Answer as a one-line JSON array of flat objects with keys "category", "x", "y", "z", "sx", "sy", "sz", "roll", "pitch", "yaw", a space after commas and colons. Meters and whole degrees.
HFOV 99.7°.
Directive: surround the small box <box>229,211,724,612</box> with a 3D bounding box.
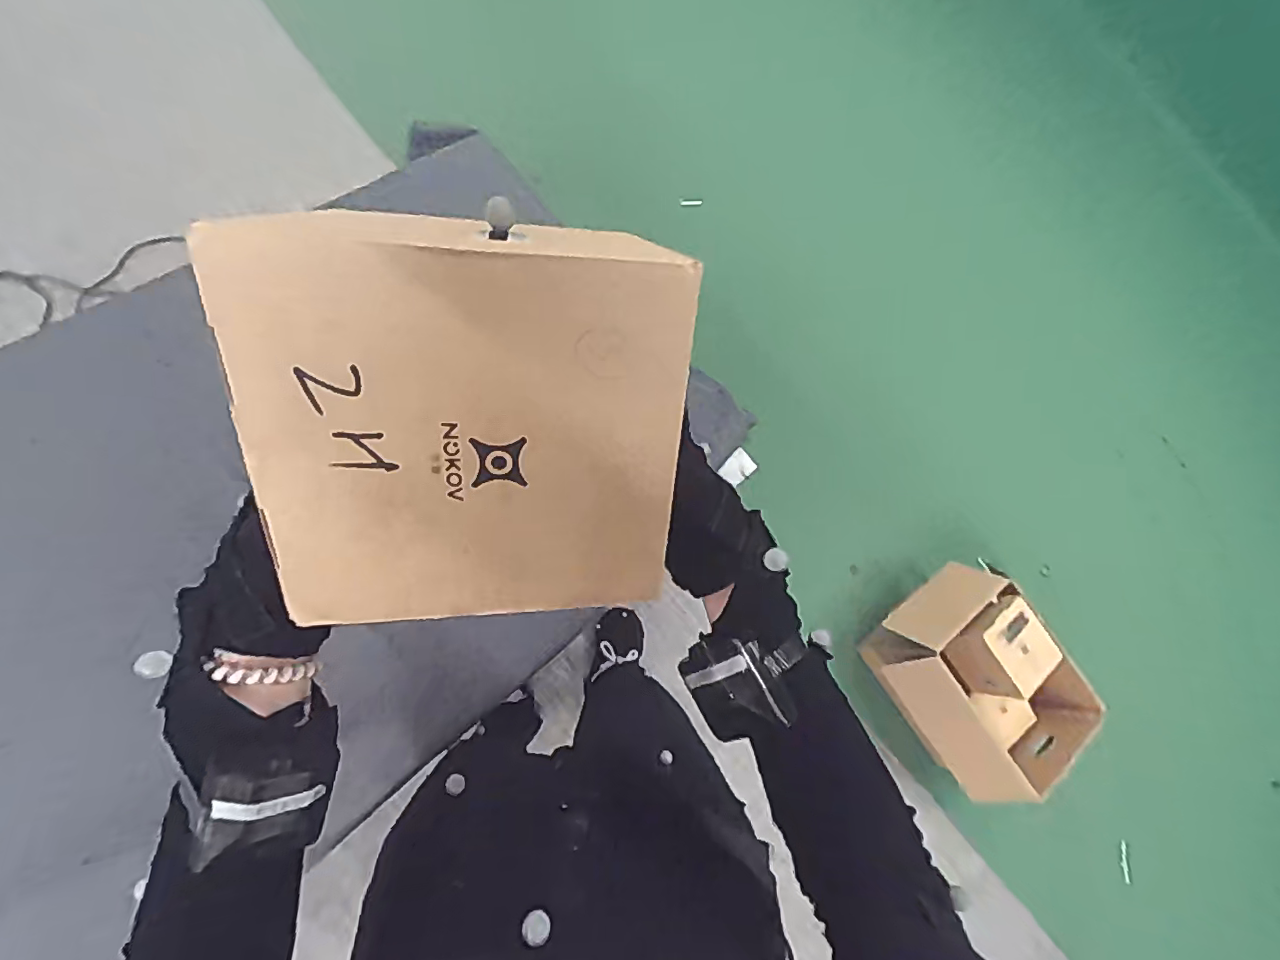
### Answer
[{"category": "small box", "x": -0.074, "y": -0.049, "z": 0.299, "sx": 0.179, "sy": 0.176, "sz": 0.168, "roll": 0, "pitch": 117, "yaw": -12}]
